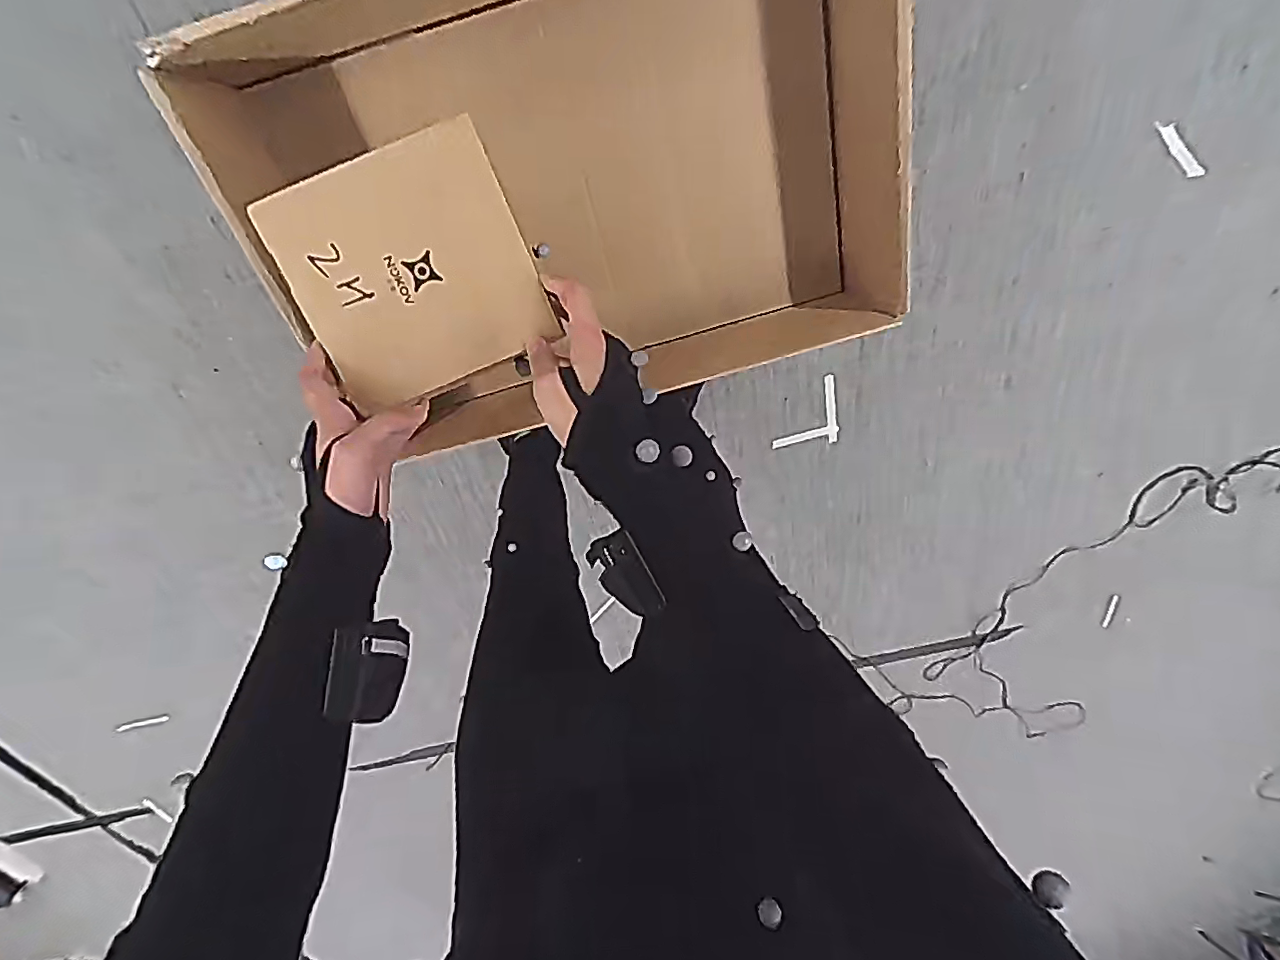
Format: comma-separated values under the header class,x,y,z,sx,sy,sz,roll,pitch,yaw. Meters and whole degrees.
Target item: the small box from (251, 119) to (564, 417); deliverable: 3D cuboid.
class,x,y,z,sx,sy,sz,roll,pitch,yaw
small box,-0.177,-0.173,0.480,0.179,0.176,0.168,-23,105,1
